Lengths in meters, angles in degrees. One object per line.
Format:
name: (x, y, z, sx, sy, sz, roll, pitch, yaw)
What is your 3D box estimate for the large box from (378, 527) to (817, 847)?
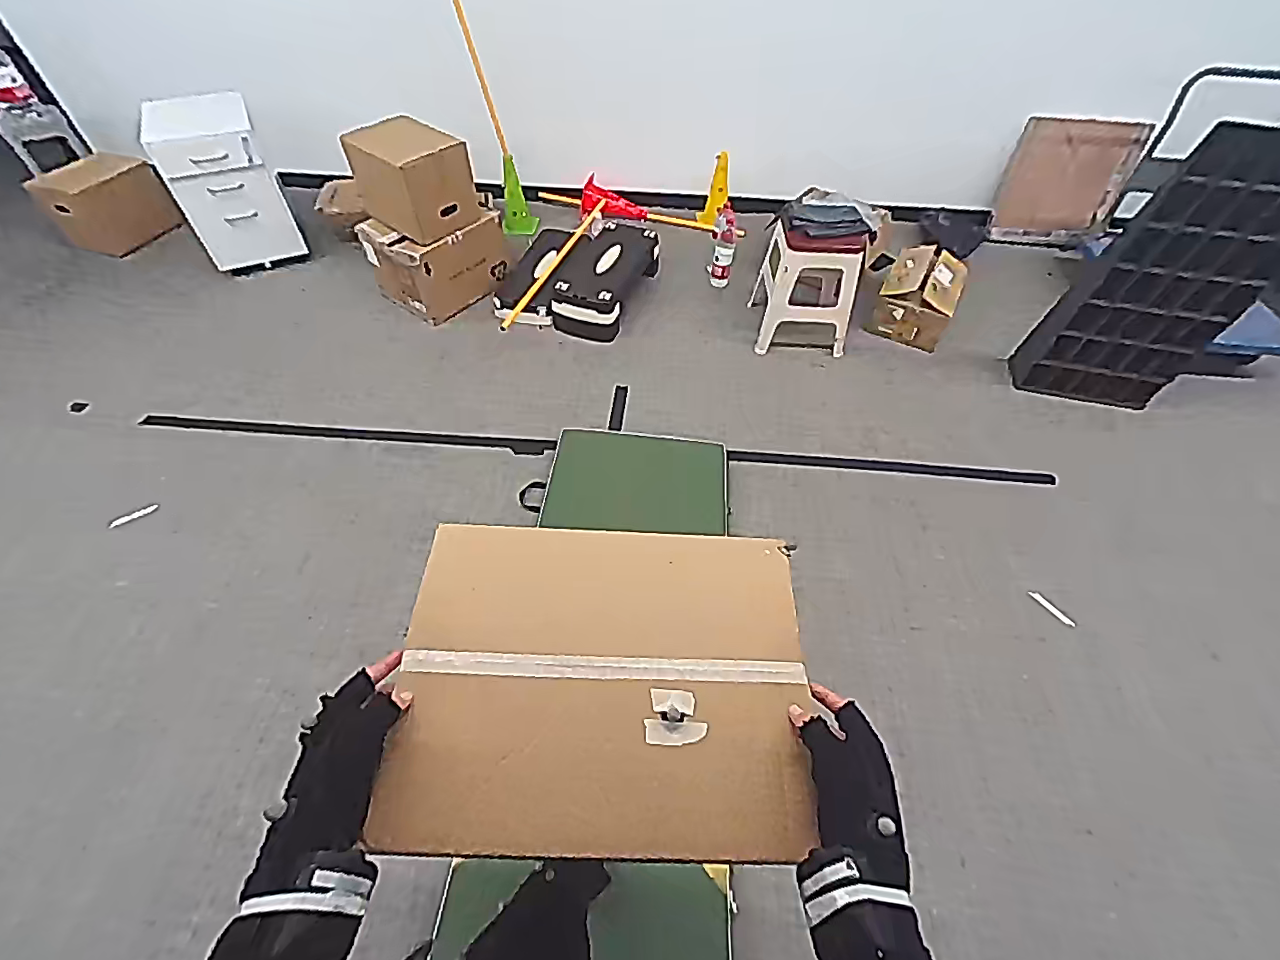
large box: (-0.045, 0.276, 0.688, 0.408, 0.320, 0.320, 3, 55, -3)
